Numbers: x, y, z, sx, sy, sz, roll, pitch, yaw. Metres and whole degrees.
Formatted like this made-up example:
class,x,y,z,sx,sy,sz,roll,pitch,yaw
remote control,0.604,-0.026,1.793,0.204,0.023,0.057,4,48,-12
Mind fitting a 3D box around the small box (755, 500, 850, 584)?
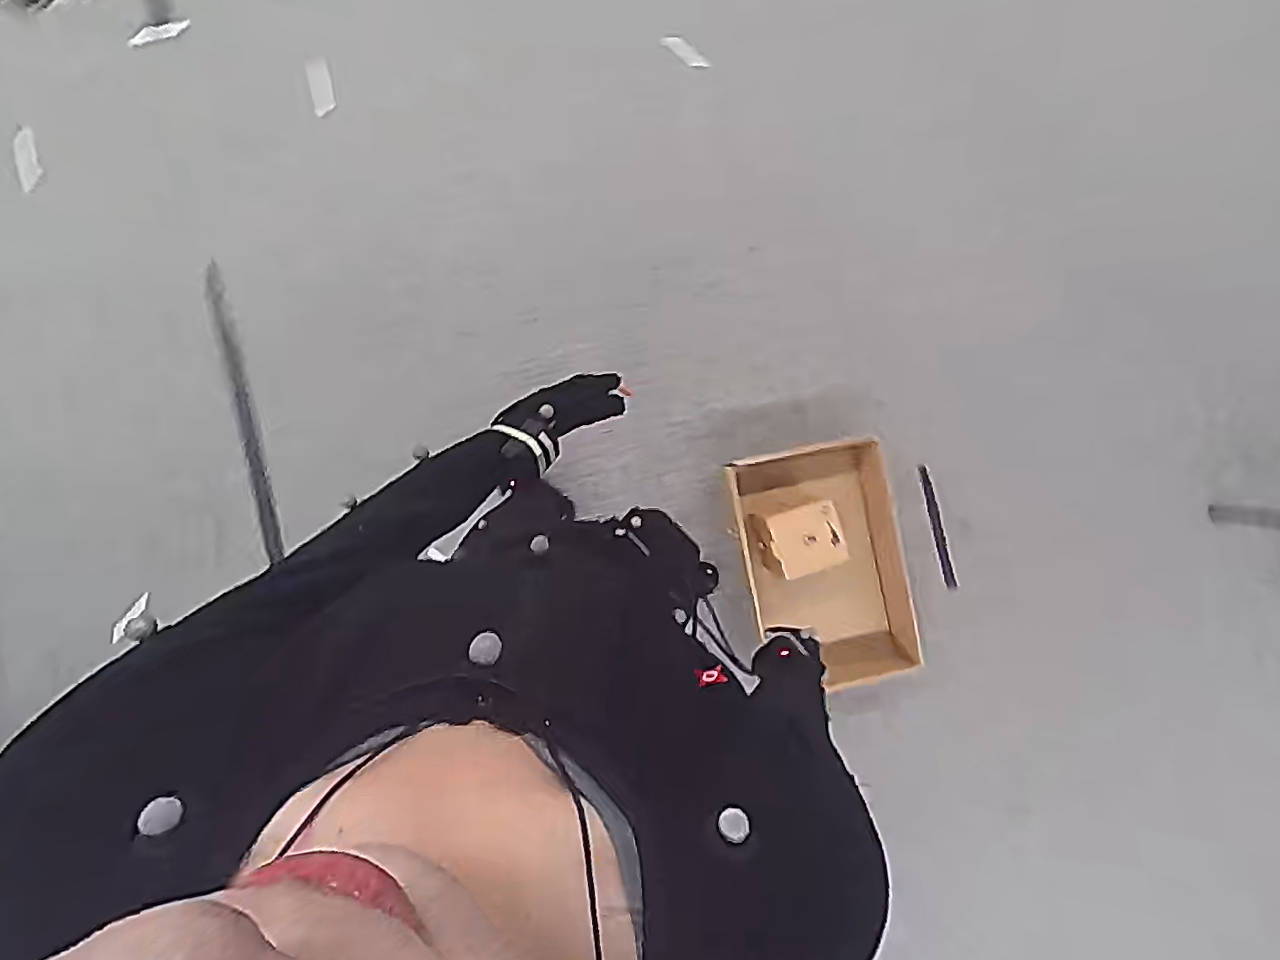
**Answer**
class,x,y,z,sx,sy,sz,roll,pitch,yaw
small box,0.411,0.155,1.404,0.179,0.176,0.168,-17,93,-3
